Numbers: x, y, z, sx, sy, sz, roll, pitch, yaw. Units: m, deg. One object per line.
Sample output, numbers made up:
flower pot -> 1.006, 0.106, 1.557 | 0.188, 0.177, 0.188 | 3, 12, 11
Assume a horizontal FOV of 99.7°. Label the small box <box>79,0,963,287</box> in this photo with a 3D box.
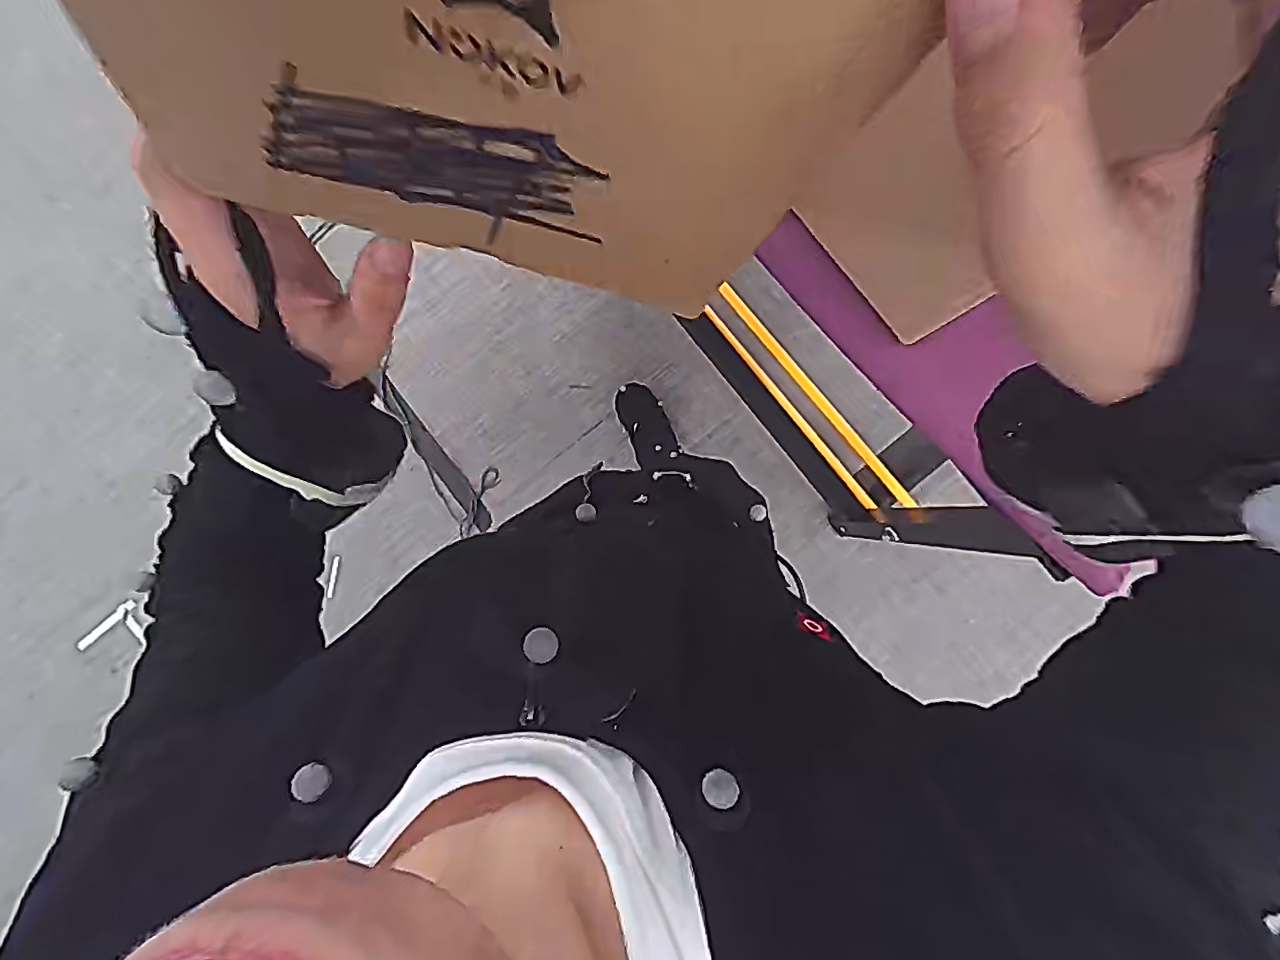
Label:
small box -> -0.020, -0.176, 0.115 | 0.168, 0.179, 0.176 | 7, 78, -18
